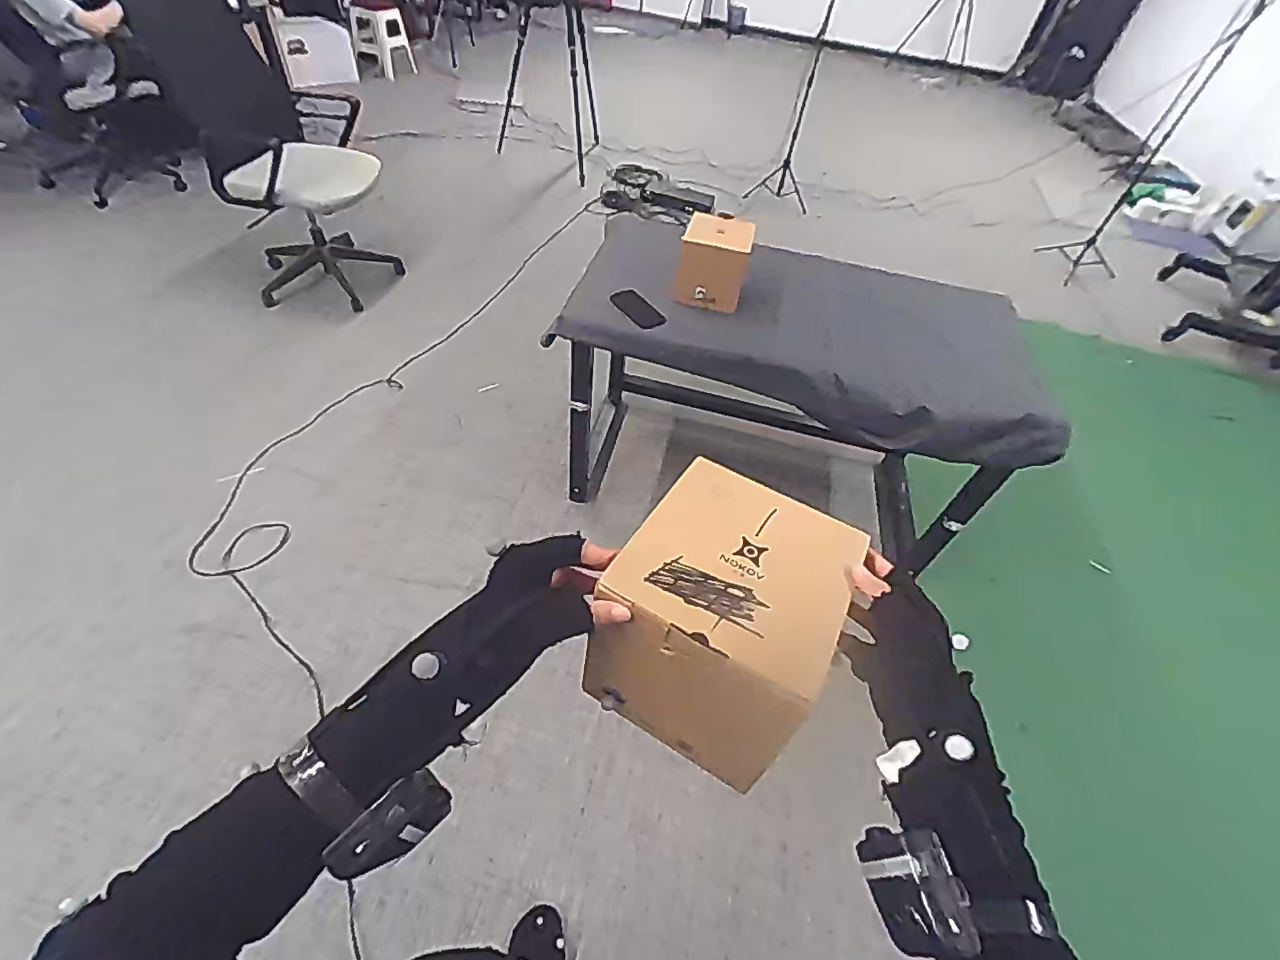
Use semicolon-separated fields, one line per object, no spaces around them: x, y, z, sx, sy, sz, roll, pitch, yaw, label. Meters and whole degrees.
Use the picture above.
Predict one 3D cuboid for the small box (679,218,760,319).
0.203;-0.547;1.398;0.168;0.176;0.179;13;49;6;small box
